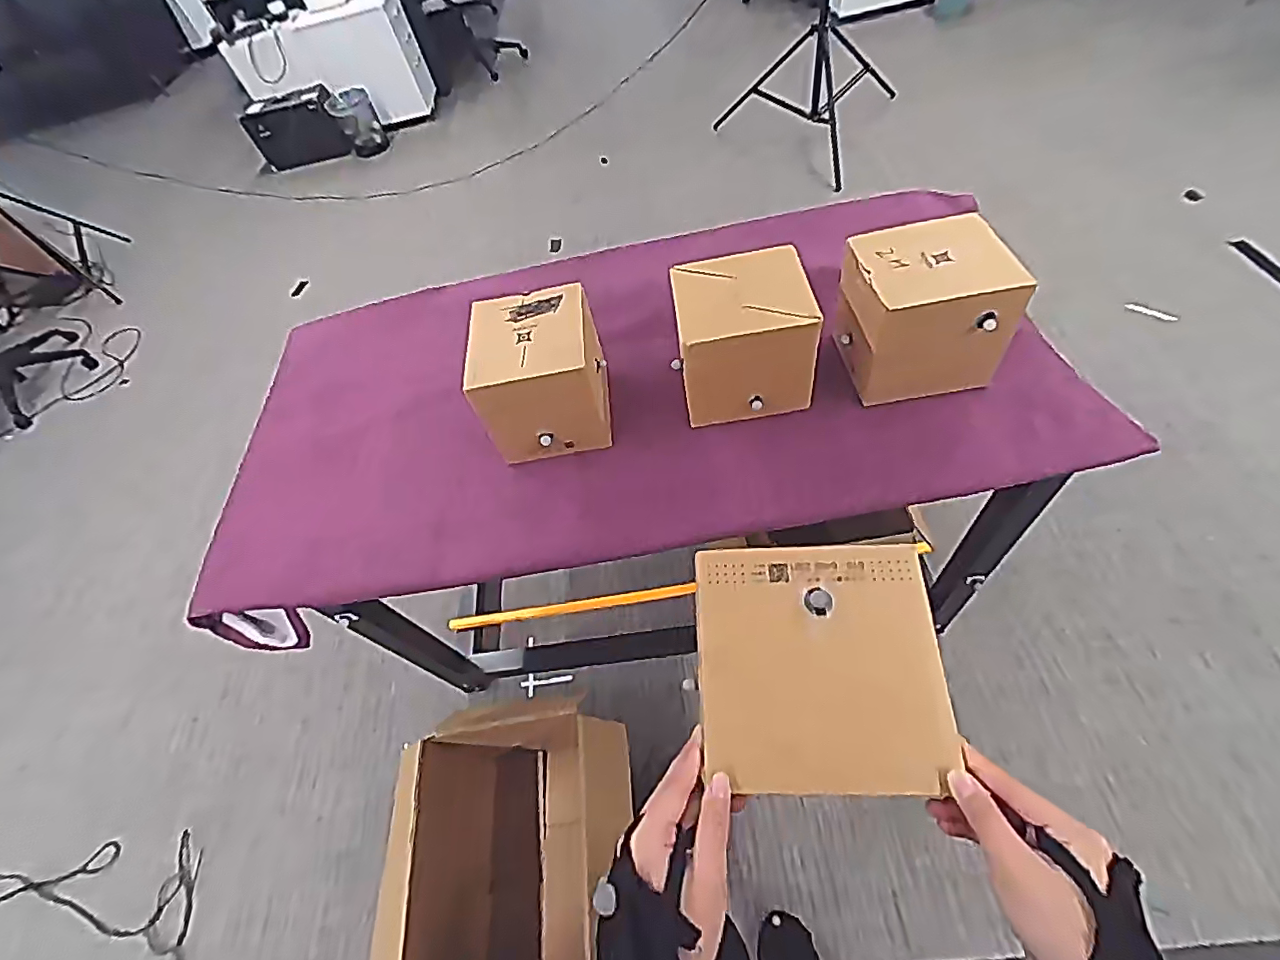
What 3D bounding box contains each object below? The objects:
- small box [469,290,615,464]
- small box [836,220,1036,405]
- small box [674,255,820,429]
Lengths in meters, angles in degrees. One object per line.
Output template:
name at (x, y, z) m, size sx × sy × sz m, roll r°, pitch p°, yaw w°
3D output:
small box at (-0.136, -0.150, 0.809) m, size 0.168 × 0.176 × 0.179 m, roll -10°, pitch 55°, yaw 5°
small box at (0.390, -0.227, 0.752) m, size 0.179 × 0.176 × 0.168 m, roll -9°, pitch 52°, yaw 6°
small box at (0.147, -0.199, 0.781) m, size 0.179 × 0.176 × 0.168 m, roll -9°, pitch 53°, yaw 6°
